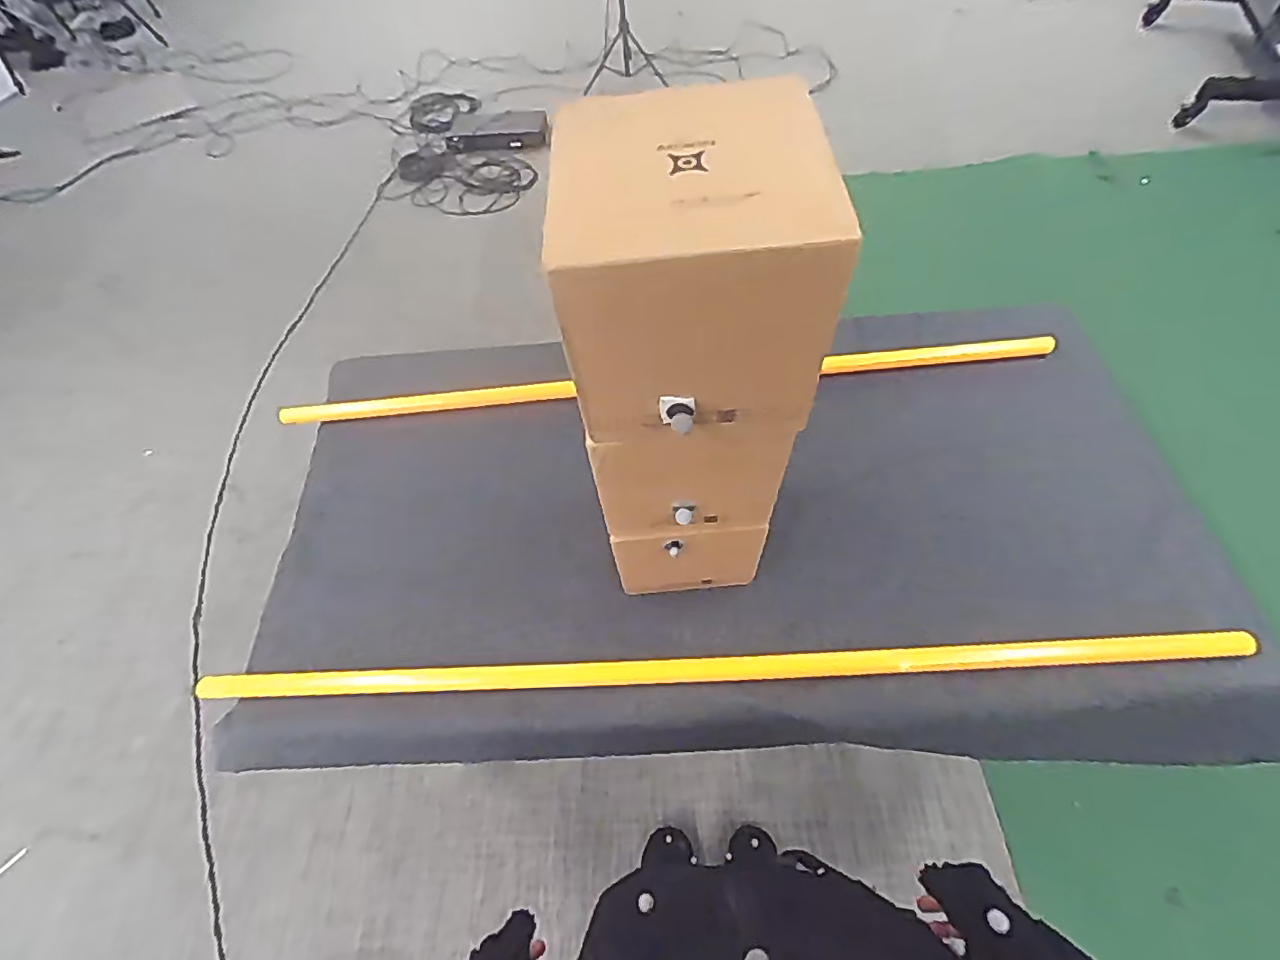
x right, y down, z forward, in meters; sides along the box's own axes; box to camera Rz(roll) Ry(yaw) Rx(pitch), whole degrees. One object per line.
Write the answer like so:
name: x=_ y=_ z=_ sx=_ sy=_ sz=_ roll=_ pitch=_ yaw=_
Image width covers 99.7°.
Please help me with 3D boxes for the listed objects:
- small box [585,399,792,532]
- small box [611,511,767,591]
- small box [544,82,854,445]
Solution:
small box: x=0.040 y=-0.066 z=0.533 sx=0.168 sy=0.176 sz=0.179 roll=-5 pitch=60 yaw=3
small box: x=0.052 y=0.022 z=0.672 sx=0.168 sy=0.176 sz=0.179 roll=-6 pitch=59 yaw=2
small box: x=0.034 y=-0.146 z=0.393 sx=0.168 sy=0.176 sz=0.179 roll=-5 pitch=60 yaw=4
